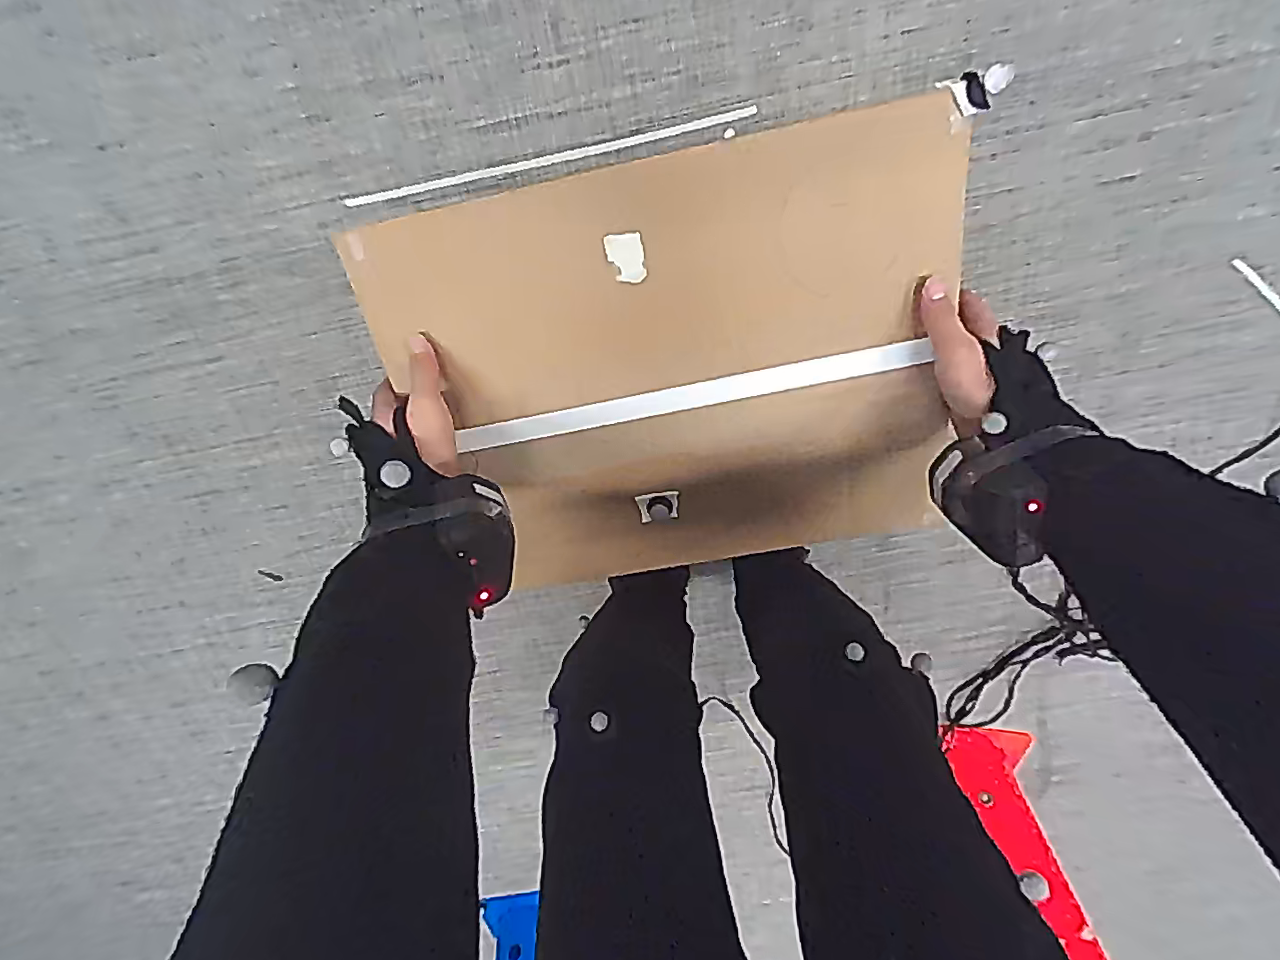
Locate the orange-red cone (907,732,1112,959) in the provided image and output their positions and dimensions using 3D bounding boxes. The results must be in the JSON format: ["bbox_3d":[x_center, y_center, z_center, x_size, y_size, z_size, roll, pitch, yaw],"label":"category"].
[{"bbox_3d":[0.630,0.623,0.865,0.199,0.360,0.198,8,115,-5],"label":"orange-red cone"}]

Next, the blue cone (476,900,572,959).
[{"bbox_3d":[-0.260,1.091,1.082,0.192,0.380,0.193,-10,113,4],"label":"blue cone"}]
